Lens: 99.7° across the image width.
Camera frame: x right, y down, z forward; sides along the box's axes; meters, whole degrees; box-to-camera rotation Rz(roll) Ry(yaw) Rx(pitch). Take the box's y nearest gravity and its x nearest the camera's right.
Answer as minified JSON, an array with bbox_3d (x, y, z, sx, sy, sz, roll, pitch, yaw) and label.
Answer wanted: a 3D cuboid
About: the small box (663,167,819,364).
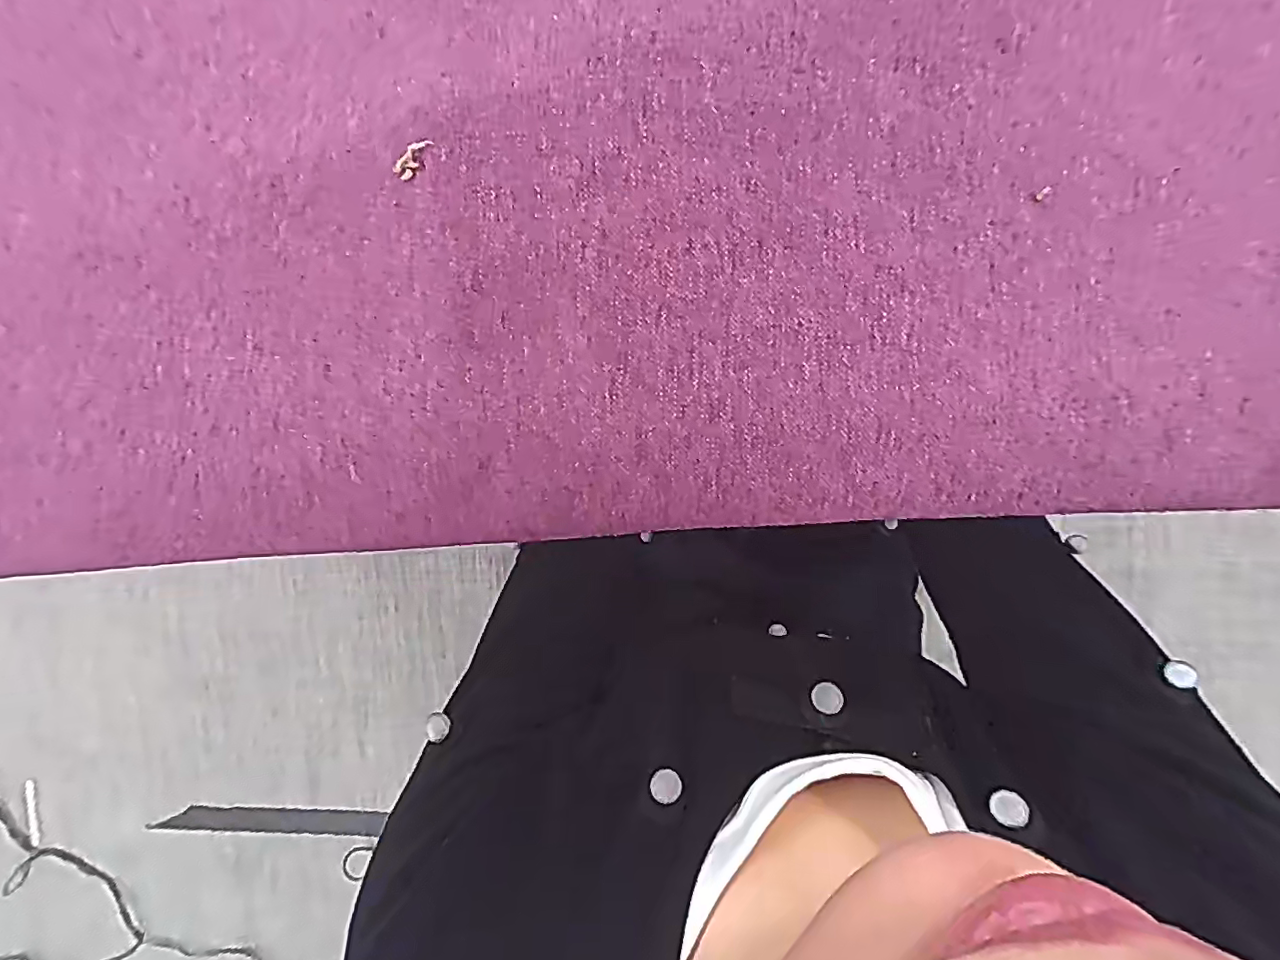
[{"bbox_3d":[0.120,-0.251,0.675,0.168,0.176,0.179,-4,93,8],"label":"small box"}]

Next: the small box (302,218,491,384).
[{"bbox_3d":[-0.317,-0.230,0.735,0.168,0.176,0.179,-3,96,7],"label":"small box"}]
